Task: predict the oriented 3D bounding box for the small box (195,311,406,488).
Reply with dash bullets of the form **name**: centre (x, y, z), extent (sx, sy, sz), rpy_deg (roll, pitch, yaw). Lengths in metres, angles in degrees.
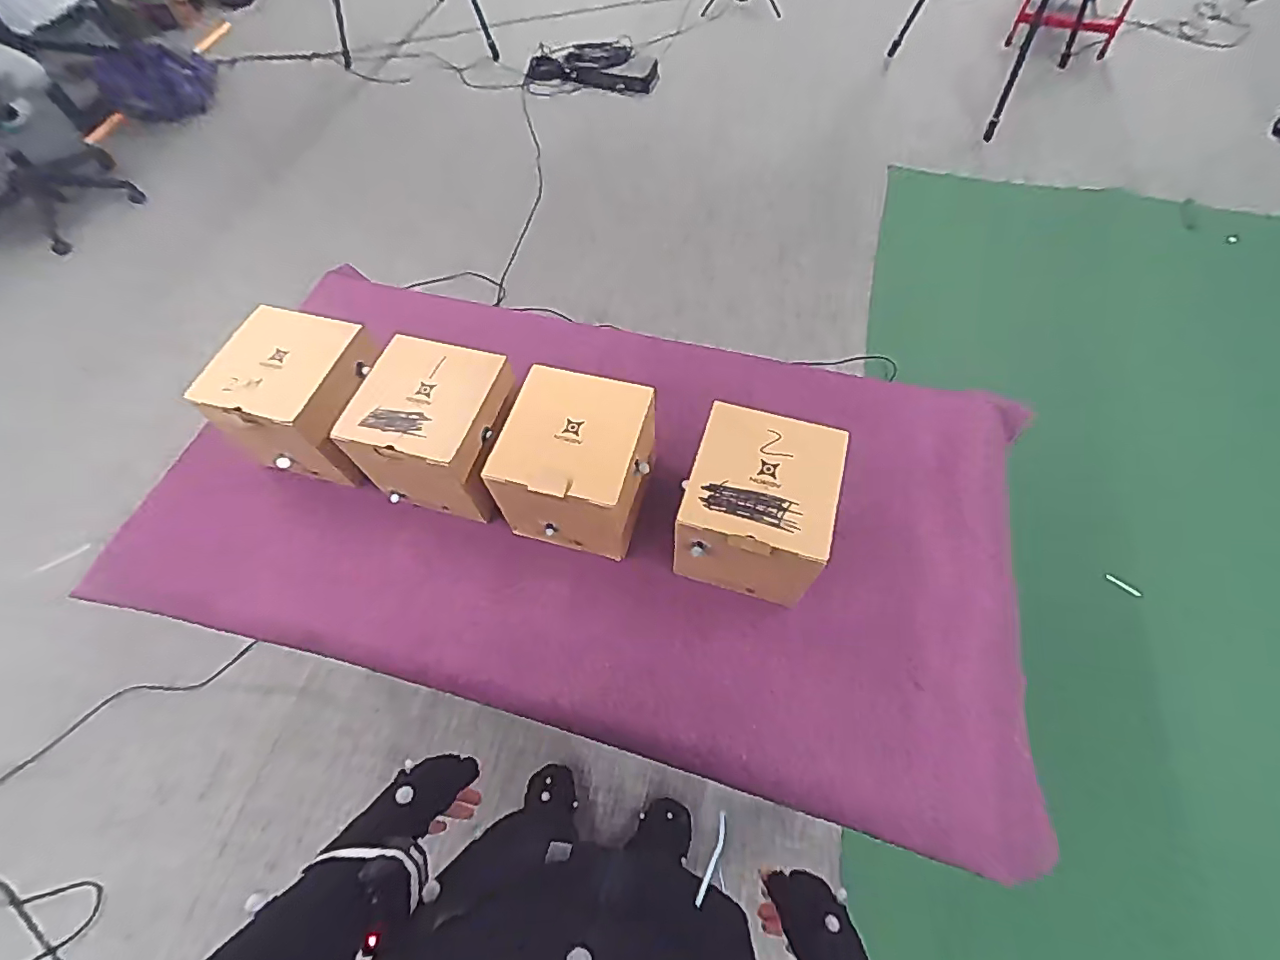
- **small box**: centre (-0.476, -0.114, 0.797), extent (0.168, 0.176, 0.179), rpy_deg (13, 62, 10)
